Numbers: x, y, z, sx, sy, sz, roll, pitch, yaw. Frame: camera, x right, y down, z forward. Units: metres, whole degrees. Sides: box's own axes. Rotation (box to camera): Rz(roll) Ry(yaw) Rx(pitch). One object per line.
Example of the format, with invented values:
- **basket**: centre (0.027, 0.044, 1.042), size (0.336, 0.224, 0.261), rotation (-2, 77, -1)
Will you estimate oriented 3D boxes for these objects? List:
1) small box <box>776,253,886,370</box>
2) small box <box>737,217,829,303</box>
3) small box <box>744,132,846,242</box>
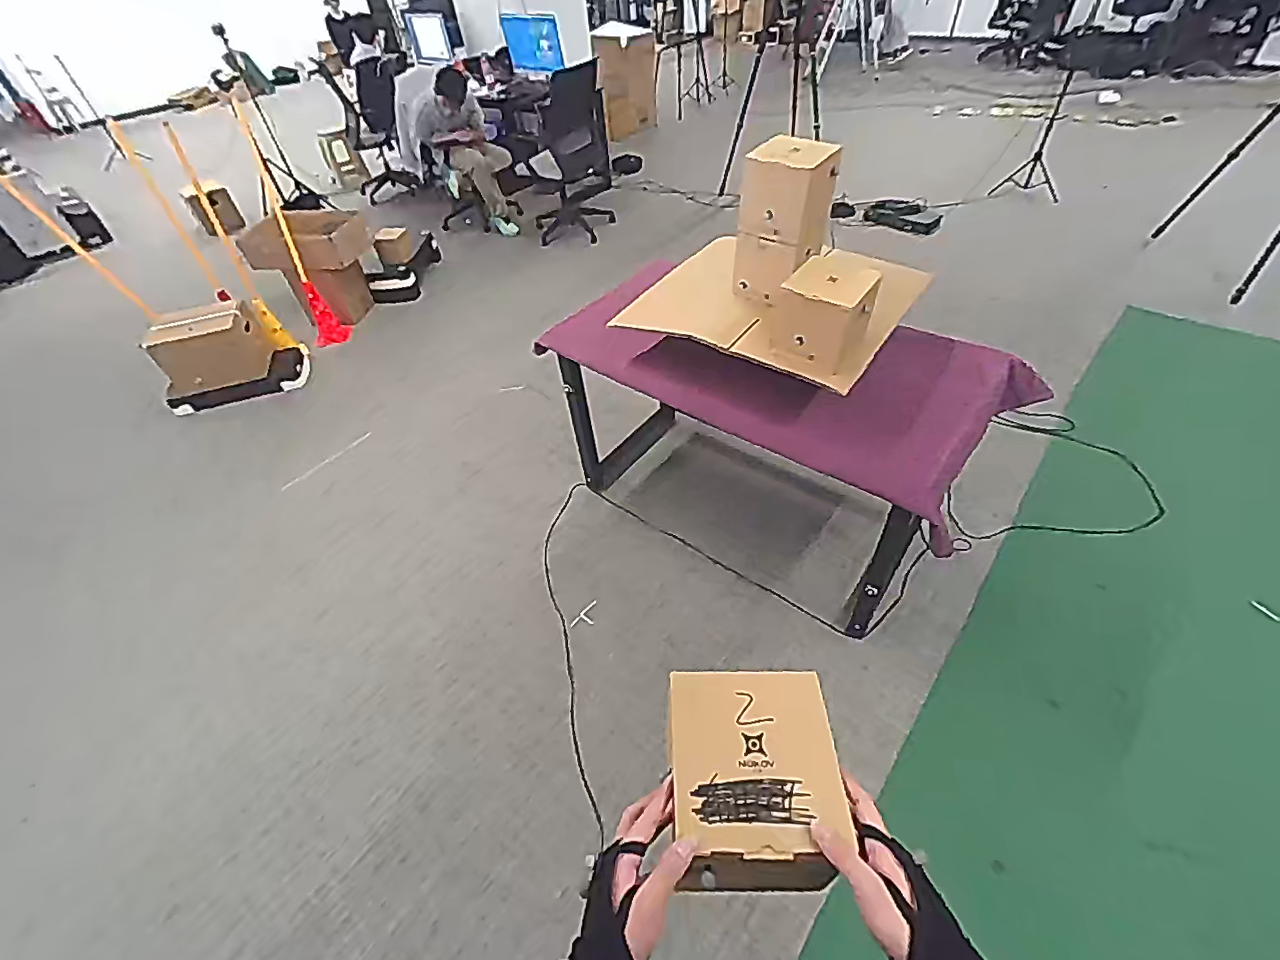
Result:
- **small box**: centre (0.422, -0.380, 1.221), size (0.168, 0.176, 0.179), rotation (28, 56, 26)
- **small box**: centre (0.365, -0.584, 1.403), size (0.168, 0.176, 0.179), rotation (28, 55, 25)
- **small box**: centre (0.359, -0.695, 1.282), size (0.168, 0.176, 0.179), rotation (28, 56, 25)
